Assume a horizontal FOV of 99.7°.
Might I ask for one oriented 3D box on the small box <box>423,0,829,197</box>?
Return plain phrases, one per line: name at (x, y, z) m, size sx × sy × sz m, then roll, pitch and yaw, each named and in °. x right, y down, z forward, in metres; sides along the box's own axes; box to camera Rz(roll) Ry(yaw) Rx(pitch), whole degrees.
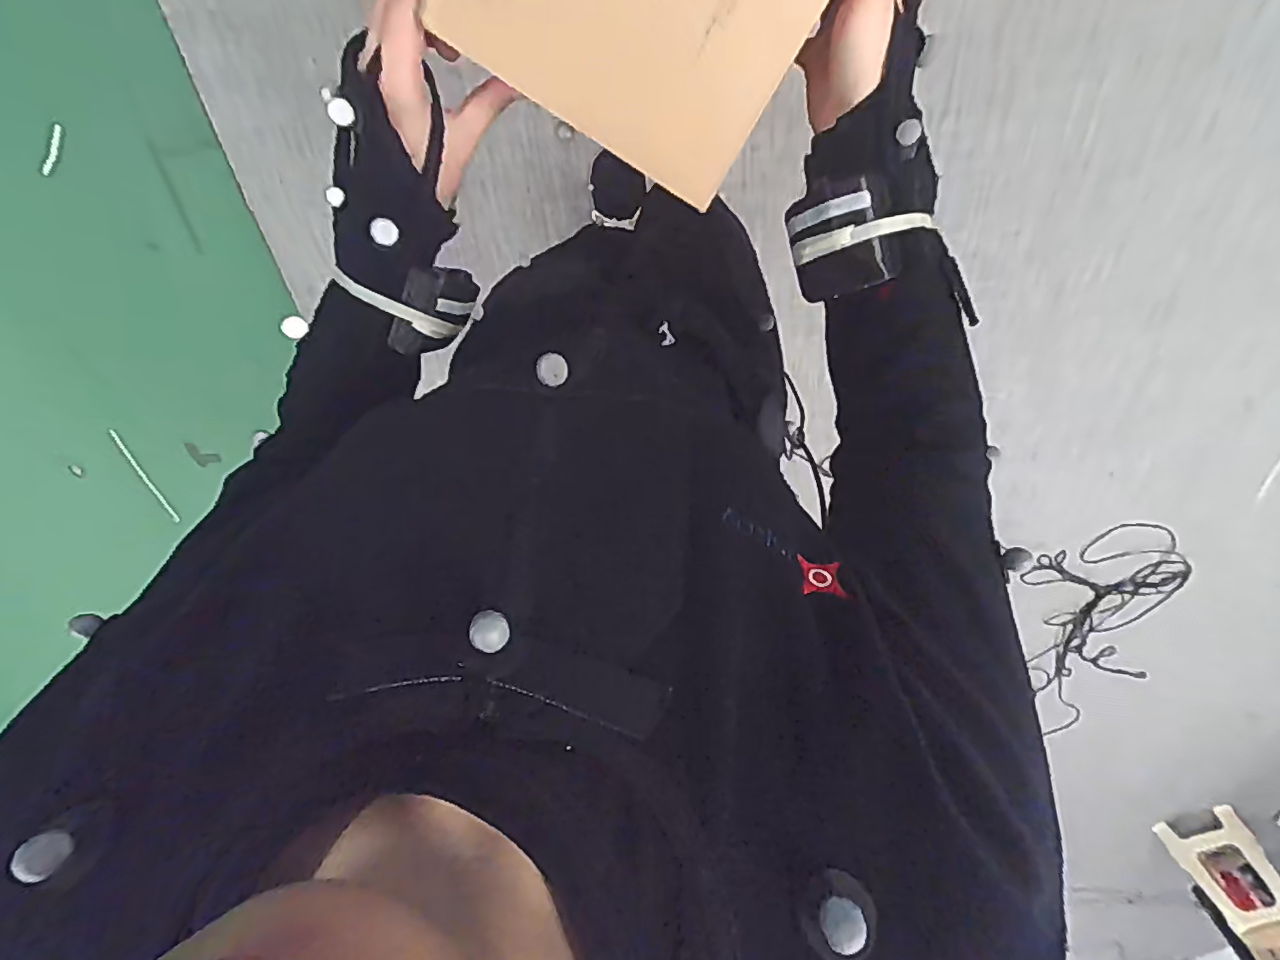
small box at (0.006, -0.302, 0.314) m, size 0.179 × 0.176 × 0.168 m, roll 23°, pitch 124°, yaw -18°
